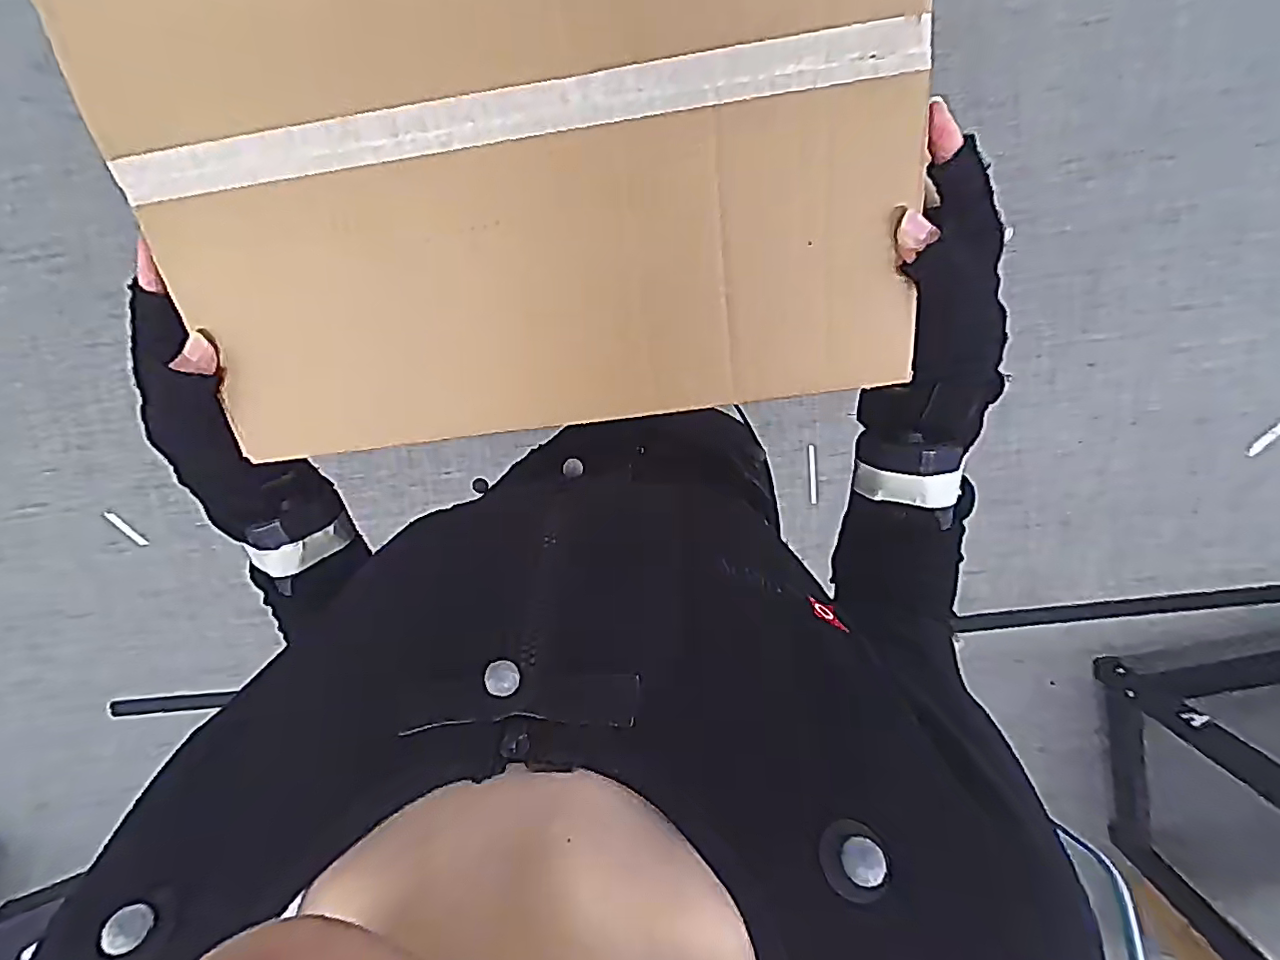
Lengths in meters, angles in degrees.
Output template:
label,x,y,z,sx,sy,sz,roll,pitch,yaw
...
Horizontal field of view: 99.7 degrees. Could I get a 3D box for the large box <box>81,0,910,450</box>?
label,x,y,z,sx,sy,sz,roll,pitch,yaw
large box,-0.063,-0.240,0.415,0.408,0.320,0.320,-7,113,4
